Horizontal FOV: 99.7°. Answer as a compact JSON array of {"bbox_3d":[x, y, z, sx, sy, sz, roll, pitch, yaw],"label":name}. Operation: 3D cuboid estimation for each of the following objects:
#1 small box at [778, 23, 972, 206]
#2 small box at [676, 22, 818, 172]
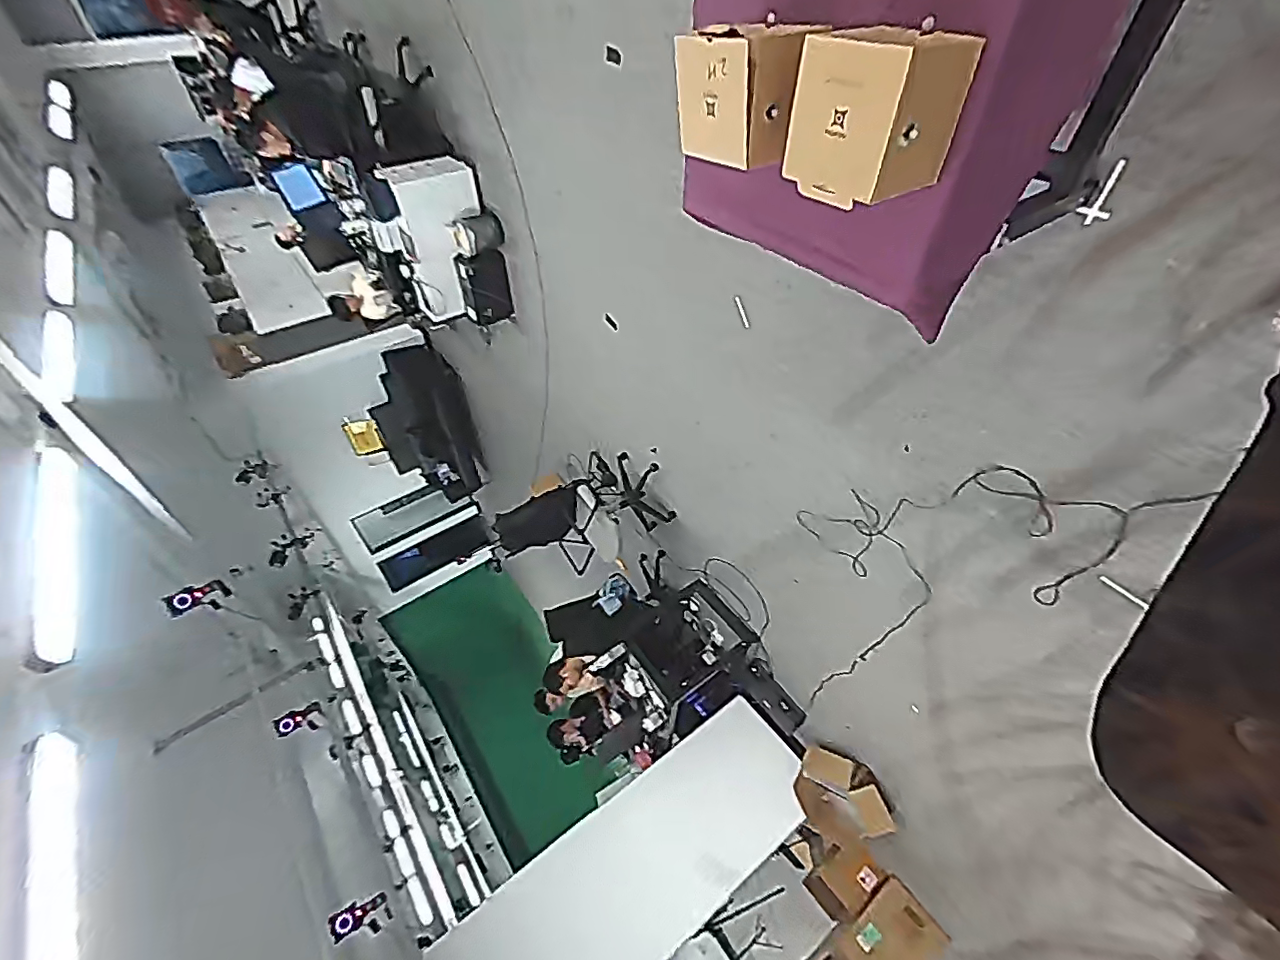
[{"bbox_3d":[0.326,-0.520,0.766,0.168,0.176,0.179,43,149,34],"label":"small box"},{"bbox_3d":[0.178,-0.647,0.910,0.168,0.176,0.179,41,148,35],"label":"small box"}]
